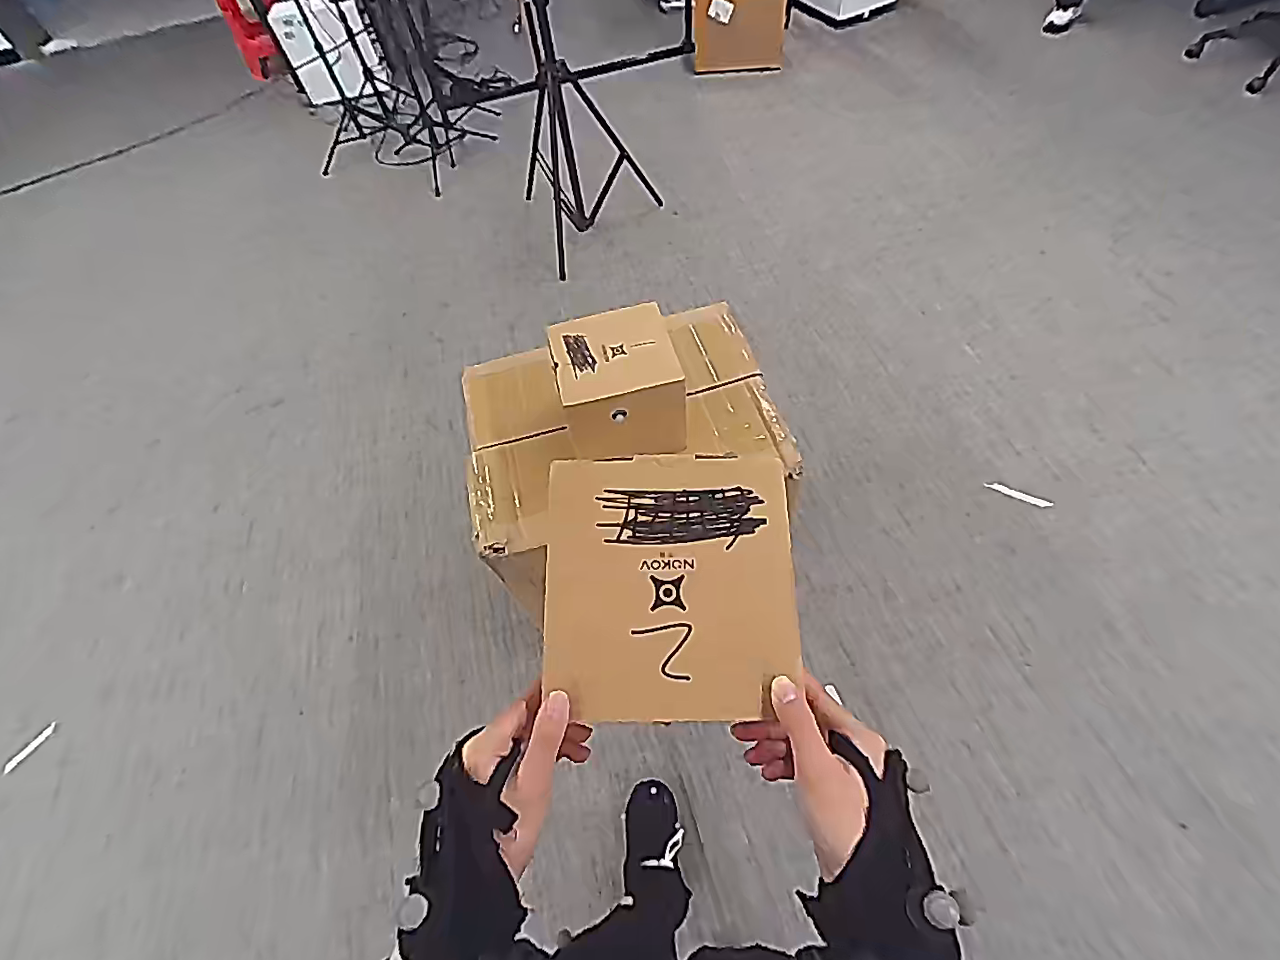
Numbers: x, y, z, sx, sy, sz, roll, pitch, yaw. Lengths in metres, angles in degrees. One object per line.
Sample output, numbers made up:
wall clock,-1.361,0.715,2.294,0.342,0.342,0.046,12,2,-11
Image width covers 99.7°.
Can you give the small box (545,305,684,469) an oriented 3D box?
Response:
small box,-0.035,-0.139,0.848,0.179,0.176,0.168,-14,58,-3
